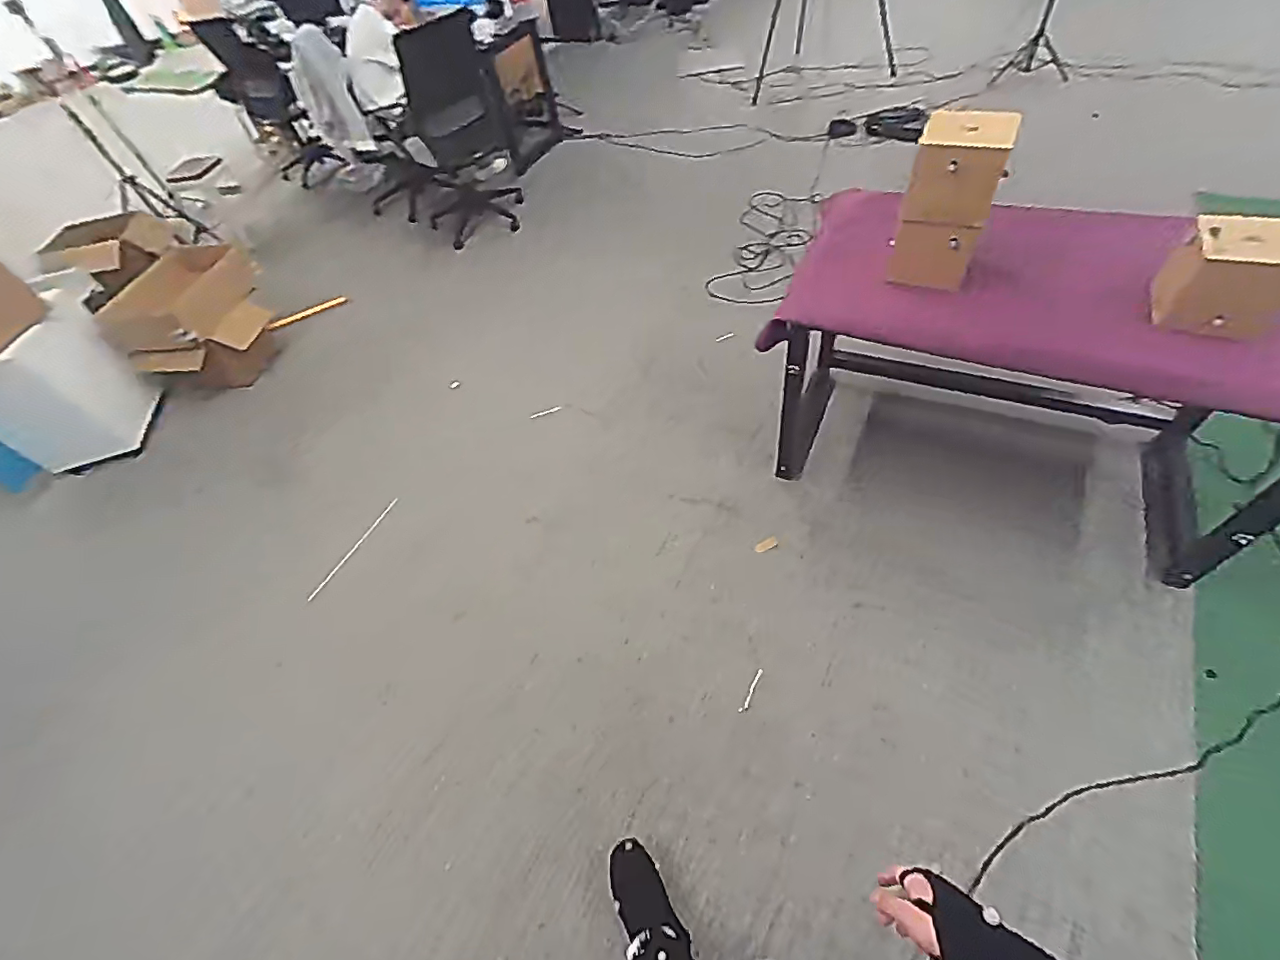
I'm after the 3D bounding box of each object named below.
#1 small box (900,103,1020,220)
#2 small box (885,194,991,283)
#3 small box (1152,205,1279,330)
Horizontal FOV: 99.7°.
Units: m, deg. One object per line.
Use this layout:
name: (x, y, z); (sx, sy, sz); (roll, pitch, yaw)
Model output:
small box: (0.700, -0.702, 1.196); (0.179, 0.176, 0.168); (18, 60, 23)
small box: (0.726, -0.609, 1.327); (0.179, 0.176, 0.168); (19, 59, 22)
small box: (1.200, -0.429, 1.100); (0.179, 0.176, 0.168); (17, 58, 22)
